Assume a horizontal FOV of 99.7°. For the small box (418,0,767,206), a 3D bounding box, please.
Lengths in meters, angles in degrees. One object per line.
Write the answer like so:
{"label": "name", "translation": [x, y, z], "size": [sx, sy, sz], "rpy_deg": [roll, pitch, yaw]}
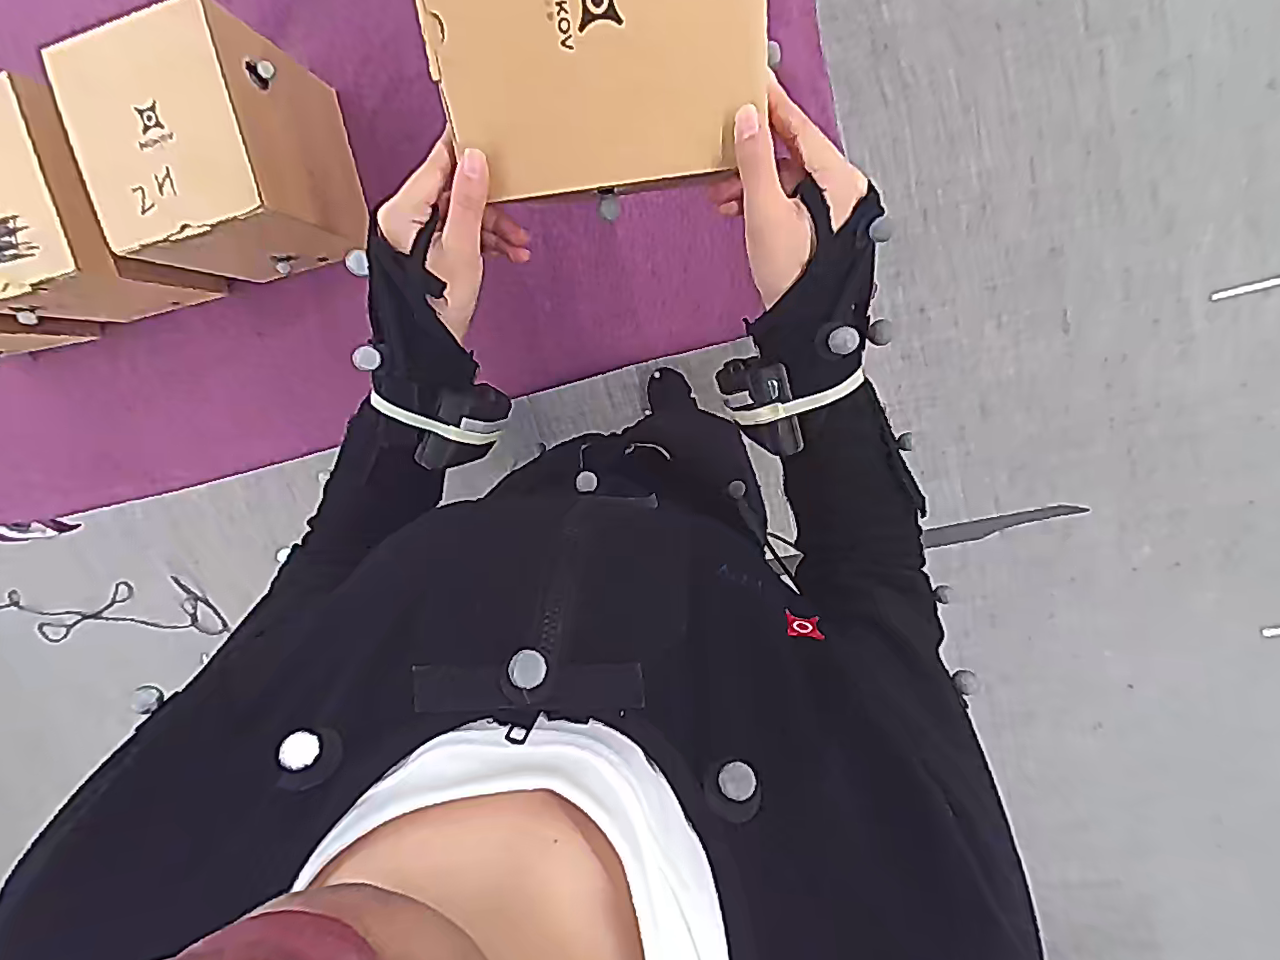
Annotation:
{"label": "small box", "translation": [-0.018, -0.274, 0.339], "size": [0.179, 0.176, 0.168], "rpy_deg": [-3, 117, 9]}
